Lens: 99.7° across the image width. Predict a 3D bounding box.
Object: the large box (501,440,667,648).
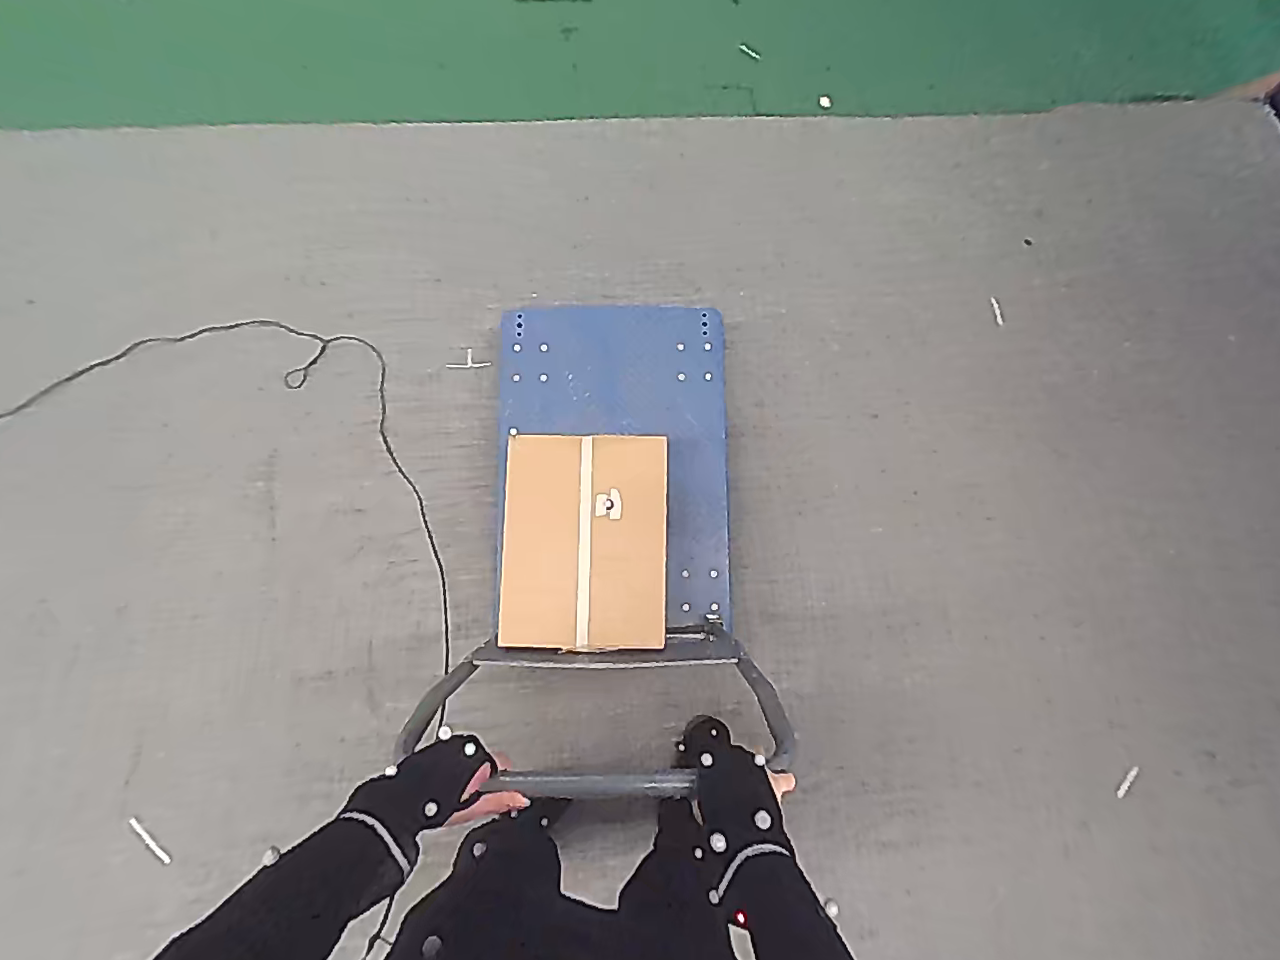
[{"bbox_3d":[-0.105,0.142,1.185,0.320,0.320,0.408,1,81,0],"label":"large box"}]
